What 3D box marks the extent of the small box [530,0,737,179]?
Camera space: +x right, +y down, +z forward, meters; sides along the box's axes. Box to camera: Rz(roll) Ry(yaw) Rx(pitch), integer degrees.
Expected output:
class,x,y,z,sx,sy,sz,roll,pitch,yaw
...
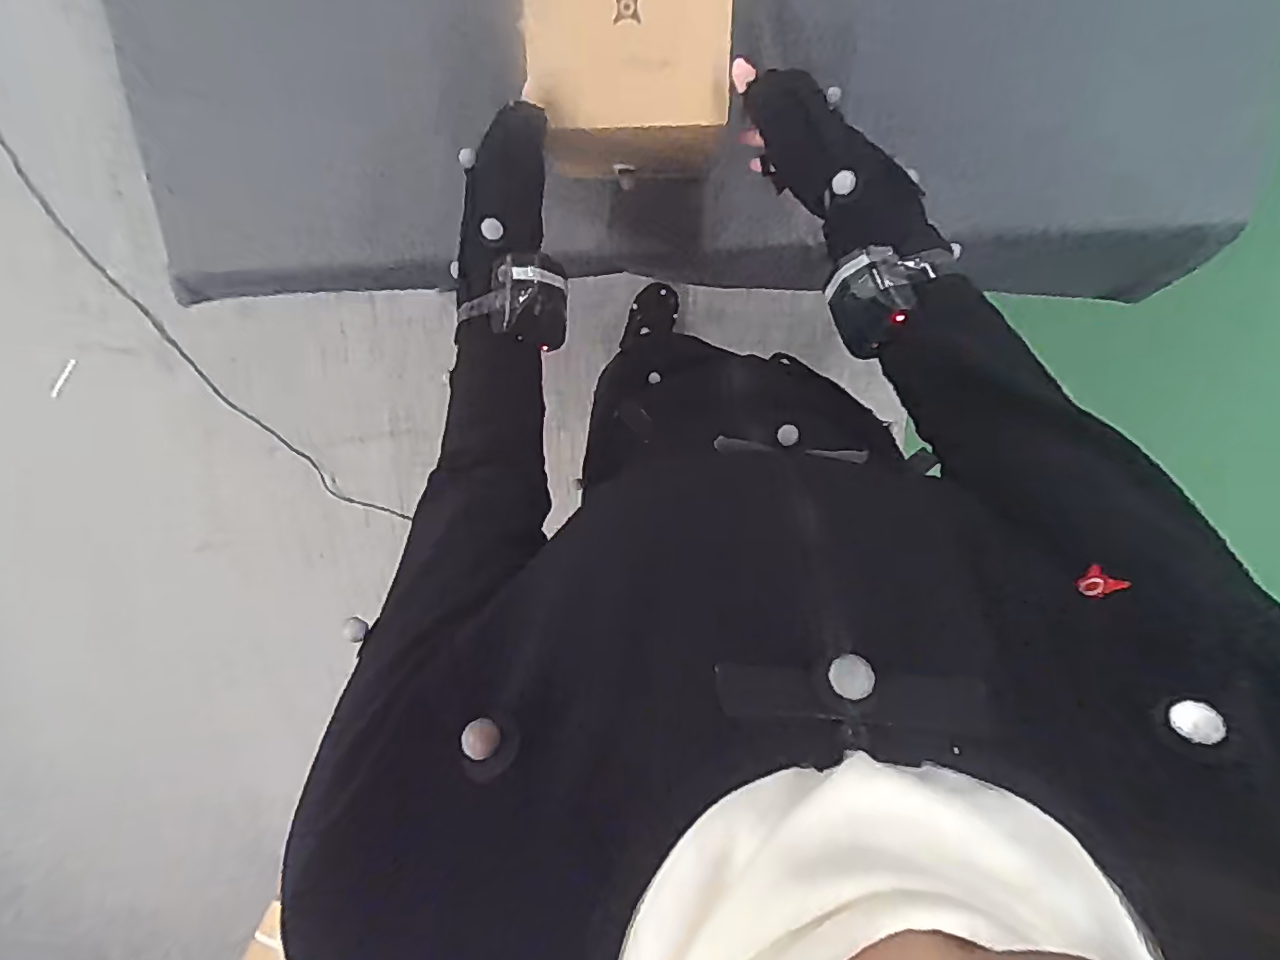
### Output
class,x,y,z,sx,sy,sz,roll,pitch,yaw
small box,0.000,-0.399,0.500,0.168,0.176,0.179,0,107,5
